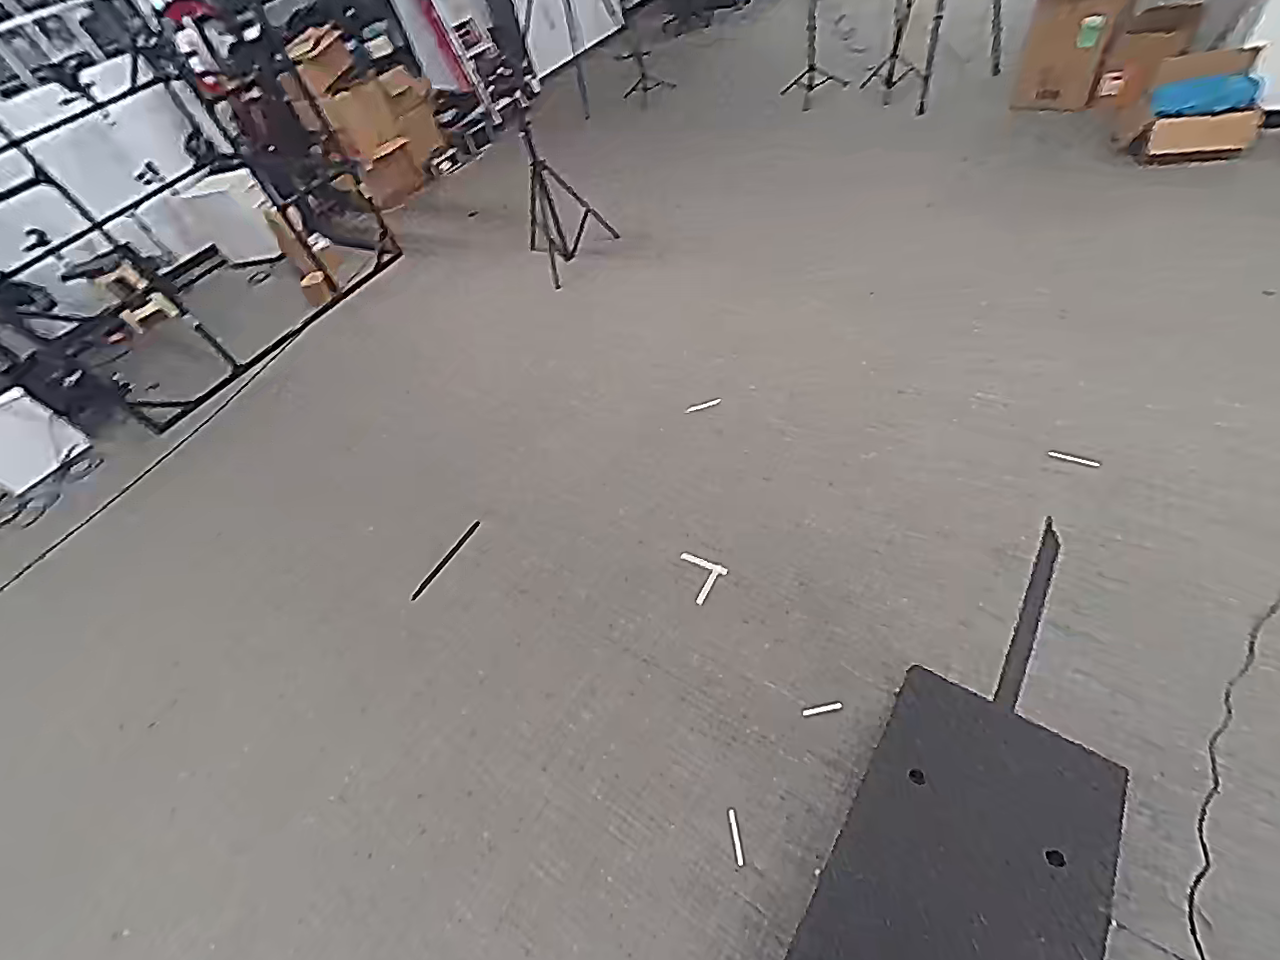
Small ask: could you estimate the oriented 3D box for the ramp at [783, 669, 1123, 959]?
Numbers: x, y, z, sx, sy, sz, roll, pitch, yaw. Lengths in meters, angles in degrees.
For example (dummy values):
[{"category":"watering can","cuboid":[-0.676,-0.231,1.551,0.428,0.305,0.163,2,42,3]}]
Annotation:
[{"category":"ramp","cuboid":[0.647,0.894,1.124,0.509,0.206,0.991,21,59,31]}]
